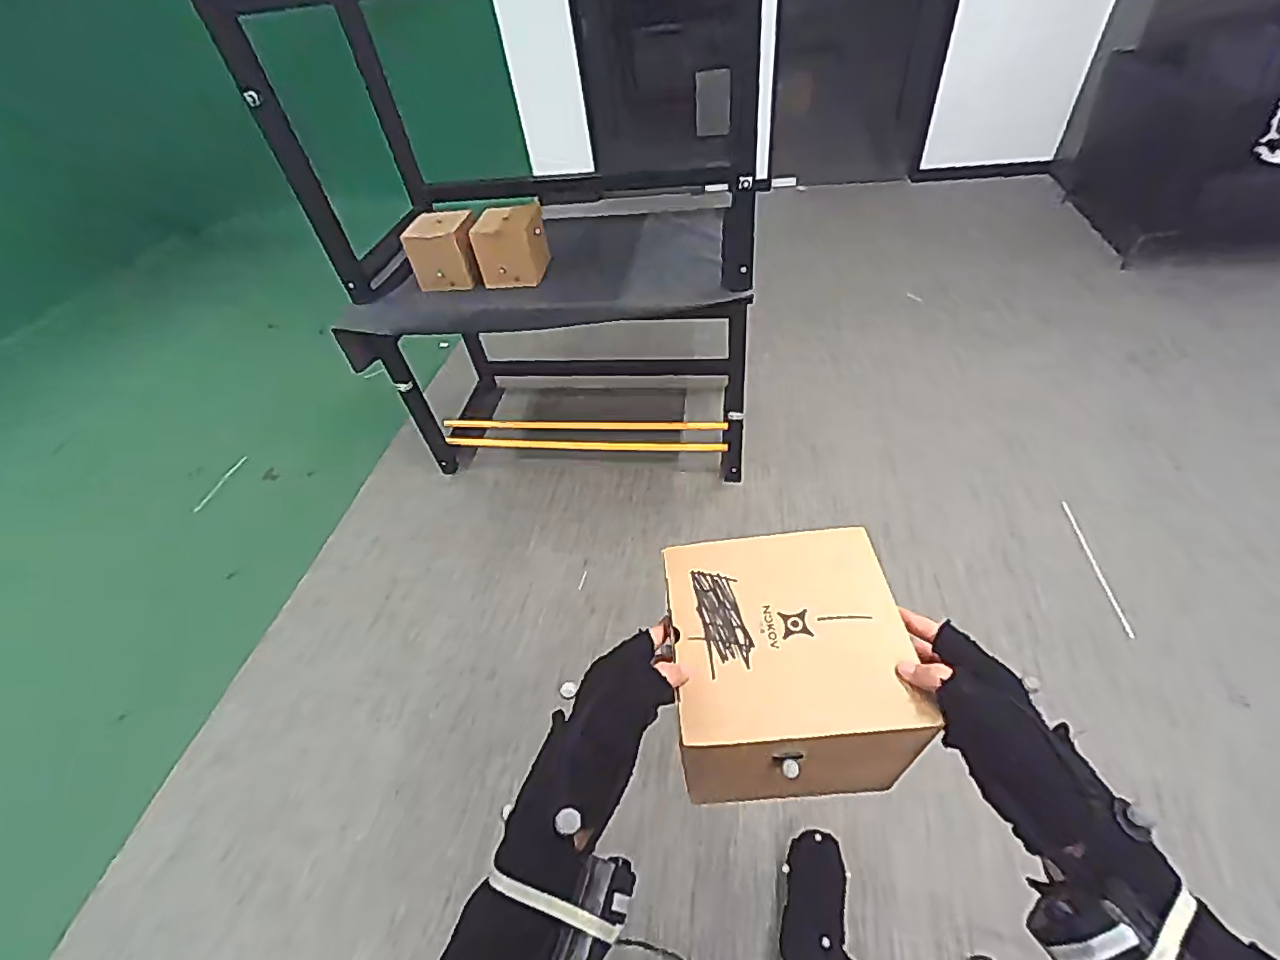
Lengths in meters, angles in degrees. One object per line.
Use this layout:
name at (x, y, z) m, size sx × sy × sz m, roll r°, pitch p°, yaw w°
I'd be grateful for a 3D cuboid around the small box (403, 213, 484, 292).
small box at (-0.582, -0.690, 1.646) m, size 0.168 × 0.176 × 0.179 m, roll 0°, pitch 47°, yaw 8°

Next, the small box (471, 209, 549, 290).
small box at (-0.380, -0.689, 1.620) m, size 0.168 × 0.176 × 0.179 m, roll 0°, pitch 47°, yaw 9°

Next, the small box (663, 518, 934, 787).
small box at (0.118, 0.156, 0.475) m, size 0.179 × 0.176 × 0.168 m, roll -6°, pitch 47°, yaw 2°
